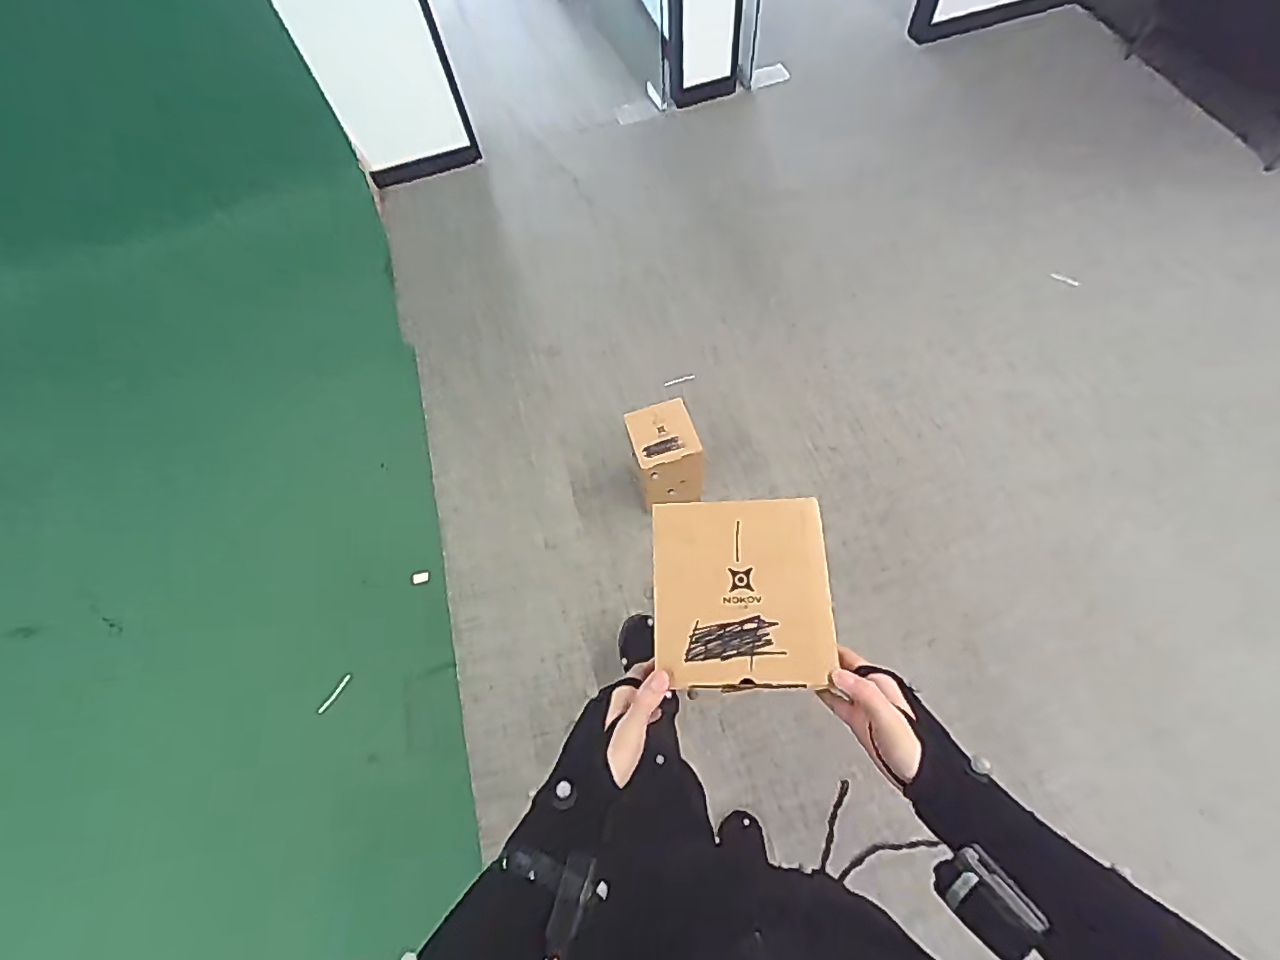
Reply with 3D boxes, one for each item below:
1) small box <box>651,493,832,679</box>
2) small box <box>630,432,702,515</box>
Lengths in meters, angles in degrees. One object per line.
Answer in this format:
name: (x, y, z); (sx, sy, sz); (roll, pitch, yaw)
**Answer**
small box: (0.102, 0.124, 0.594); (0.168, 0.176, 0.179); (-2, 69, 5)
small box: (0.081, -0.013, 1.628); (0.179, 0.176, 0.168); (-17, 64, -4)
